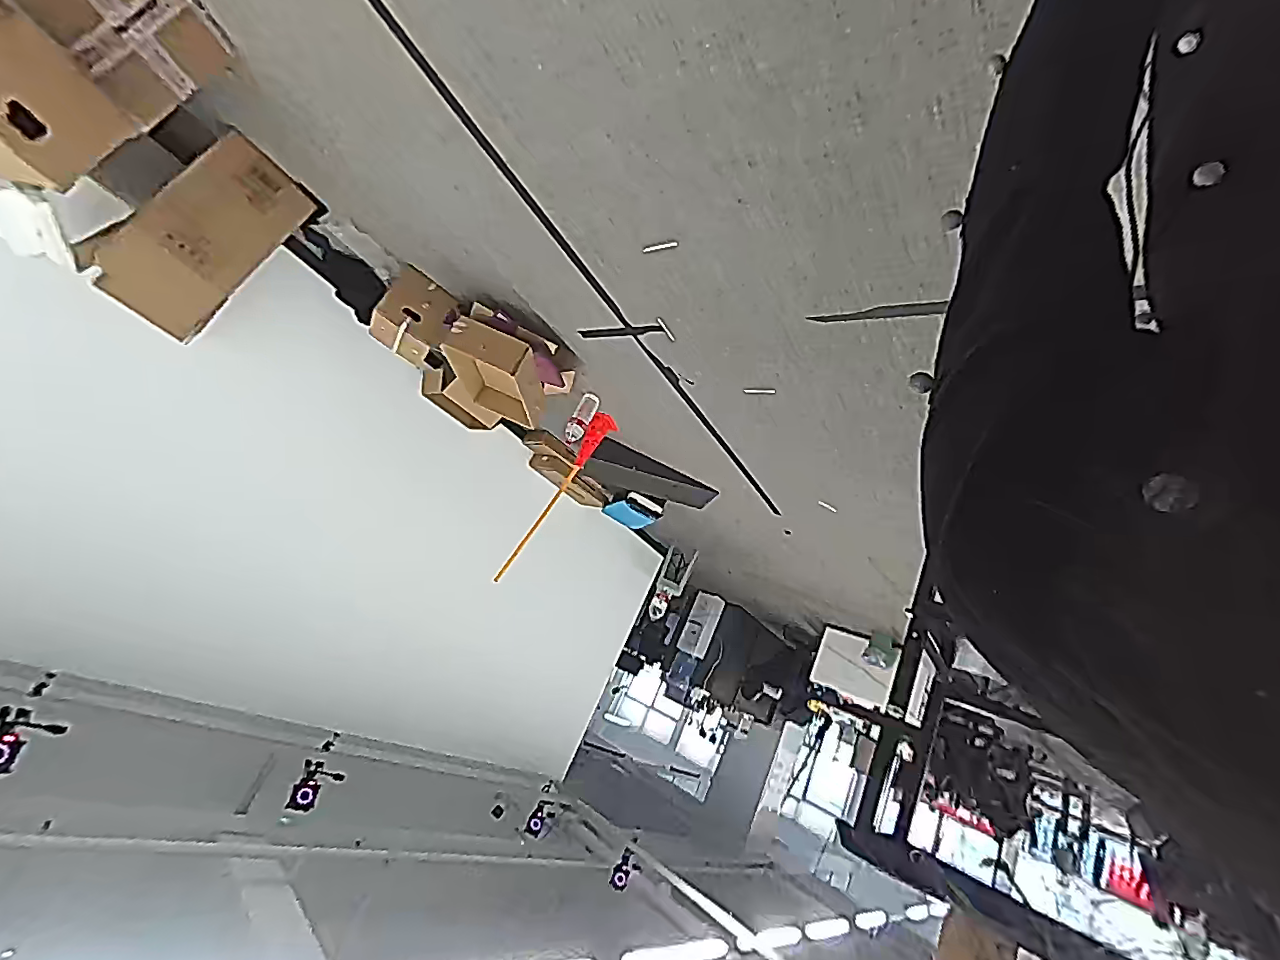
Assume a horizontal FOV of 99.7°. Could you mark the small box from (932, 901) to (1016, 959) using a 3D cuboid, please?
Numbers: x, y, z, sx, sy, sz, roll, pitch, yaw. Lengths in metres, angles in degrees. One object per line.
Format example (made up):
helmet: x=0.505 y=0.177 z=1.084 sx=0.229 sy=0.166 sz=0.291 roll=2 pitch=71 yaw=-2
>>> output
small box: x=0.875 y=1.253 z=1.423 sx=0.168 sy=0.176 sz=0.179 roll=11 pitch=159 yaw=38
